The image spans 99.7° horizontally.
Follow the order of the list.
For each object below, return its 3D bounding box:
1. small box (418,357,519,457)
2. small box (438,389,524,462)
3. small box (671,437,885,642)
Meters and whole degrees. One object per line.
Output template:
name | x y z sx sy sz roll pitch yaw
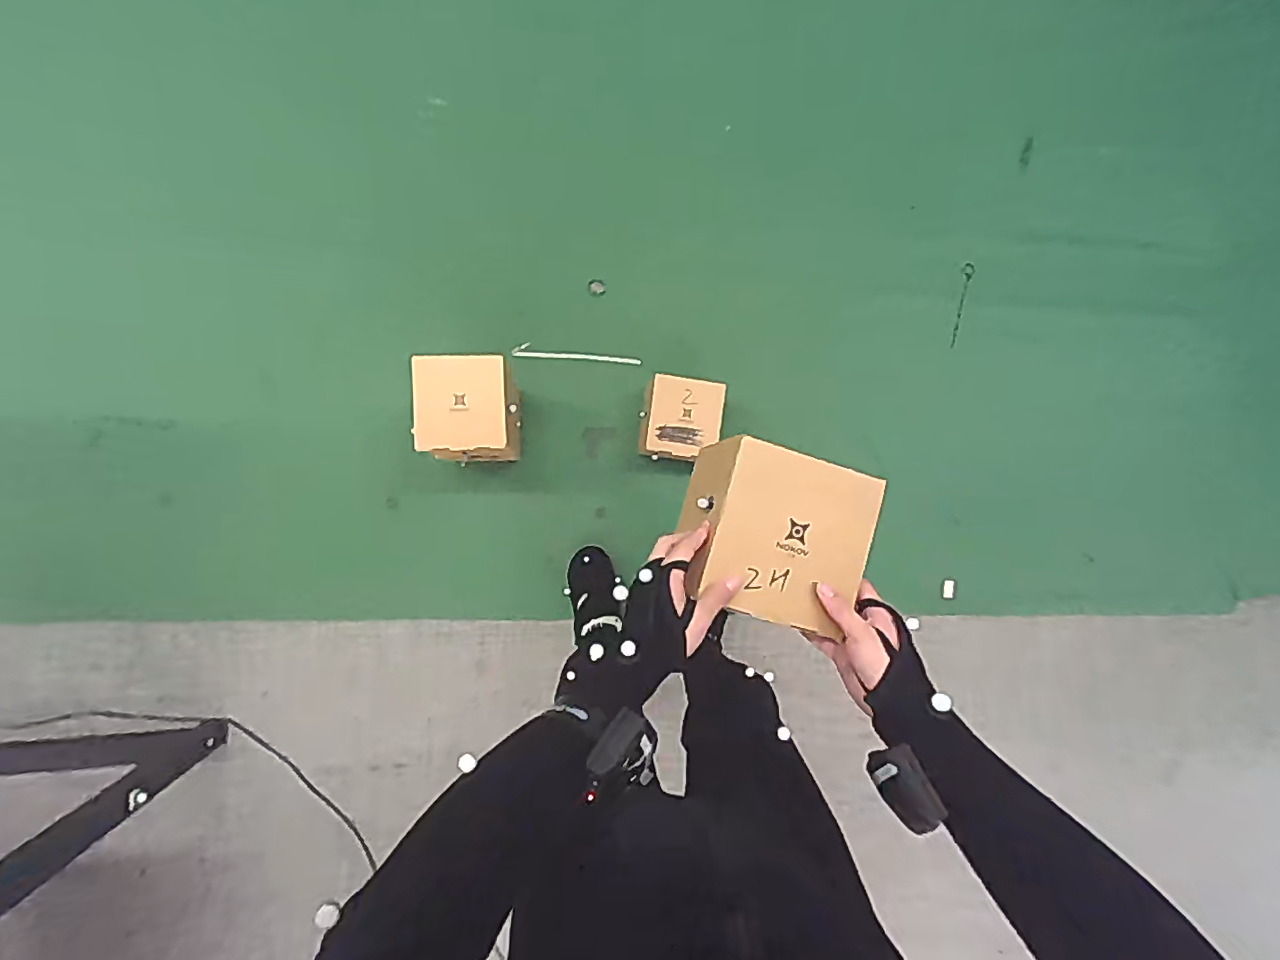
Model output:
small box | -0.335 -0.139 1.077 0.168 0.176 0.179 -2 90 -7
small box | -0.358 -0.131 1.238 0.168 0.176 0.179 0 89 -7
small box | 0.146 0.063 0.631 0.168 0.176 0.179 17 87 -7
